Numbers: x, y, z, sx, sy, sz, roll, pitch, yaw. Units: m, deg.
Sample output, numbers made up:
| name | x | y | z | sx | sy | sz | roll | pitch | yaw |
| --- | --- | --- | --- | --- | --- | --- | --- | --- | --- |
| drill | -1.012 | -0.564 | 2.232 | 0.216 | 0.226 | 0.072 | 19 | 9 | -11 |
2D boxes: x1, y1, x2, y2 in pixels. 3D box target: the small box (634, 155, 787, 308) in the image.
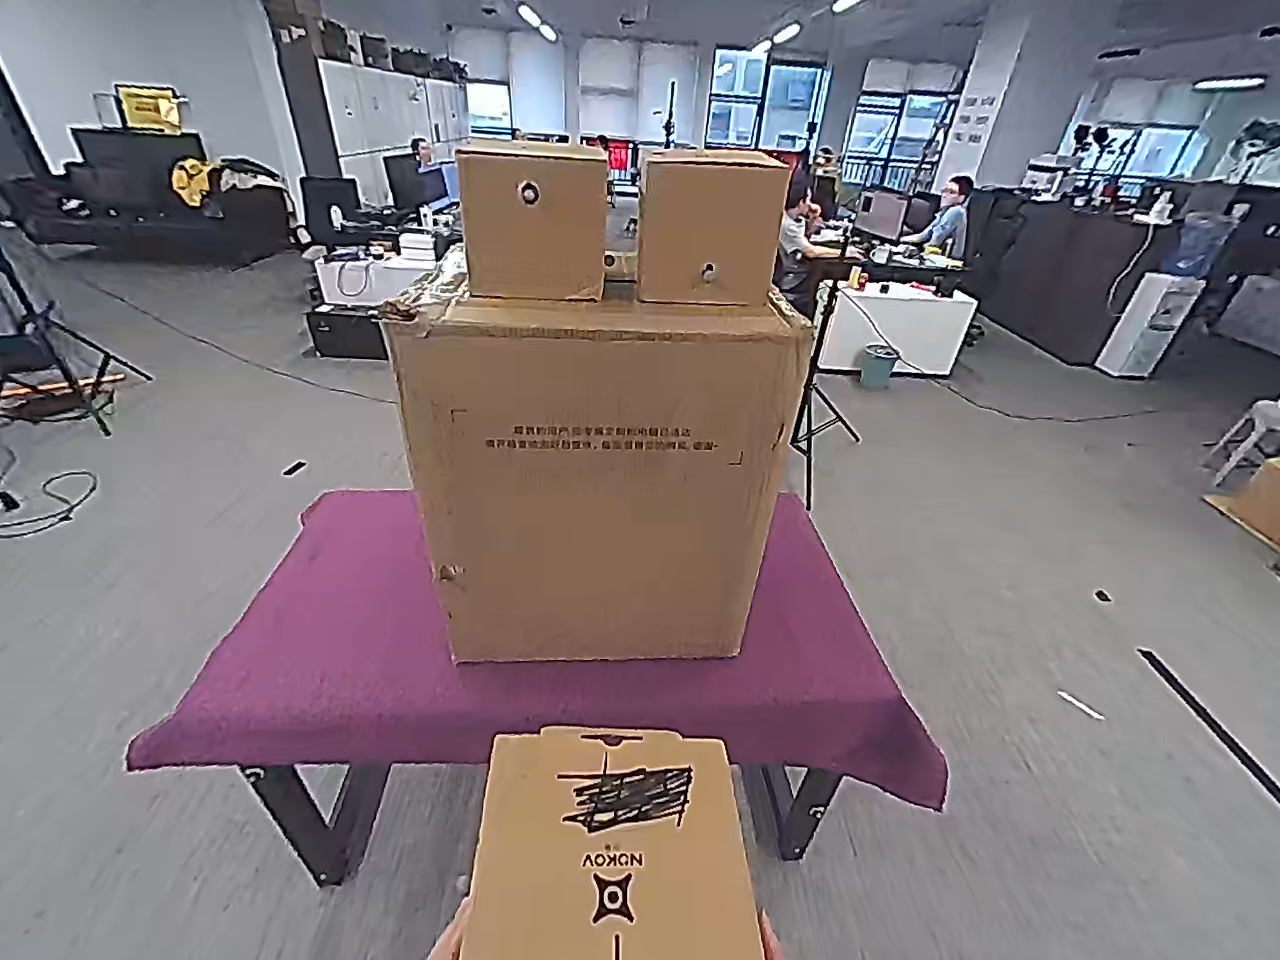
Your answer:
| name | x | y | z | sx | sy | sz | roll | pitch | yaw |
| --- | --- | --- | --- | --- | --- | --- | --- | --- | --- |
| small box | 0.085 | -0.347 | 0.757 | 0.179 | 0.176 | 0.168 | 1 | 34 | -4 |

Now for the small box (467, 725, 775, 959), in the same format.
| name | x | y | z | sx | sy | sz | roll | pitch | yaw |
| --- | --- | --- | --- | --- | --- | --- | --- | --- | --- |
| small box | -0.022 | 0.294 | 0.364 | 0.168 | 0.176 | 0.179 | 4 | 34 | -7 |
